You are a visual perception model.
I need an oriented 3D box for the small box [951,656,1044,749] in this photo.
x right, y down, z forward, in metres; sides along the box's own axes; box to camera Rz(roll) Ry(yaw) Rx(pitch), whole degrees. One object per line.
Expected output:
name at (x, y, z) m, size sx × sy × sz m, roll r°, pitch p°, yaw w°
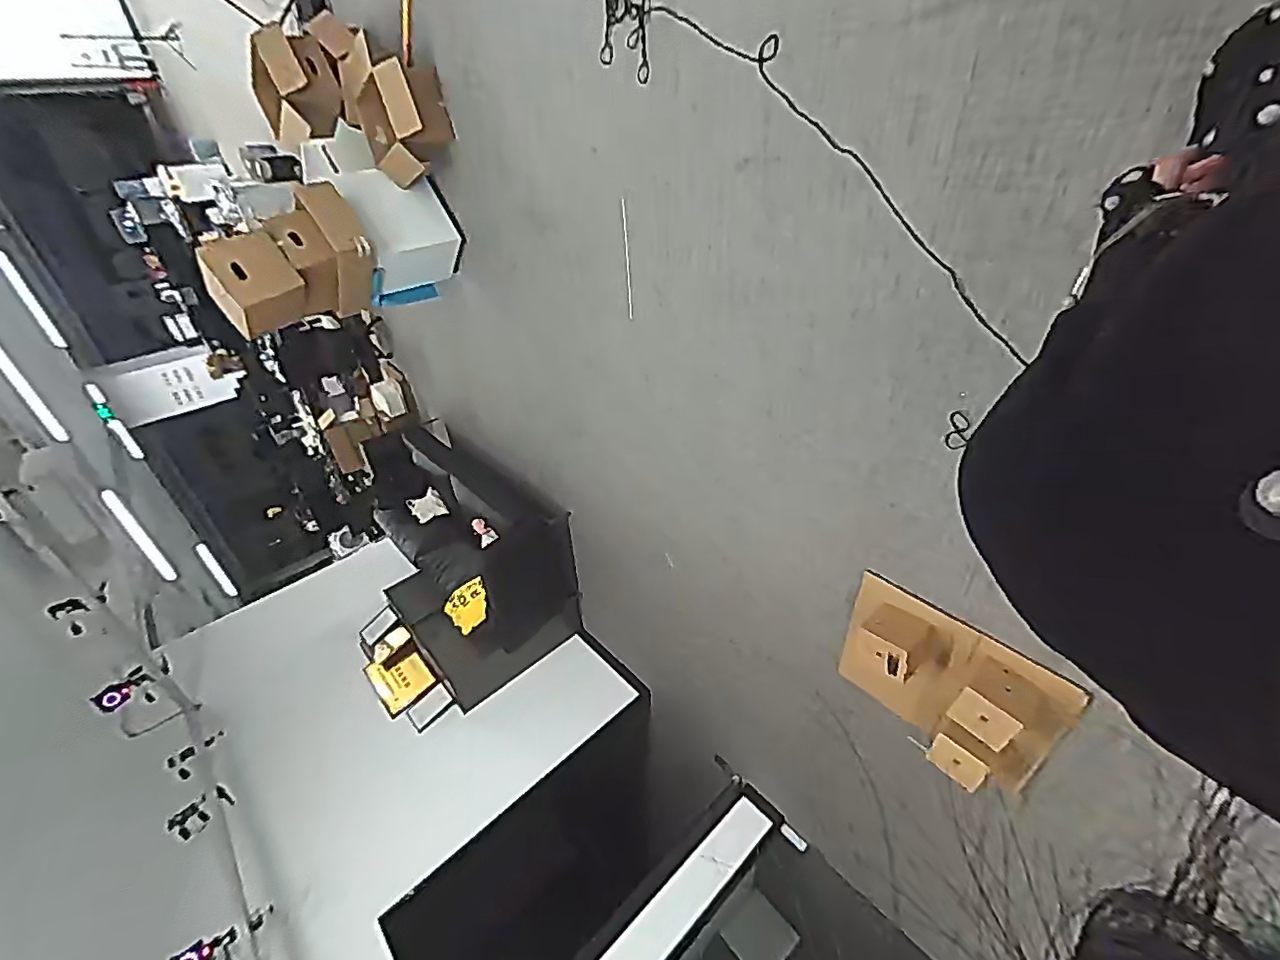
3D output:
small box at (1.114, 0.685, 1.681) m, size 0.168 × 0.176 × 0.179 m, roll 36°, pitch 141°, yaw 35°

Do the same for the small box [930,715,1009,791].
small box at (1.128, 0.899, 1.836) m, size 0.168 × 0.176 × 0.179 m, roll 33°, pitch 139°, yaw 38°
